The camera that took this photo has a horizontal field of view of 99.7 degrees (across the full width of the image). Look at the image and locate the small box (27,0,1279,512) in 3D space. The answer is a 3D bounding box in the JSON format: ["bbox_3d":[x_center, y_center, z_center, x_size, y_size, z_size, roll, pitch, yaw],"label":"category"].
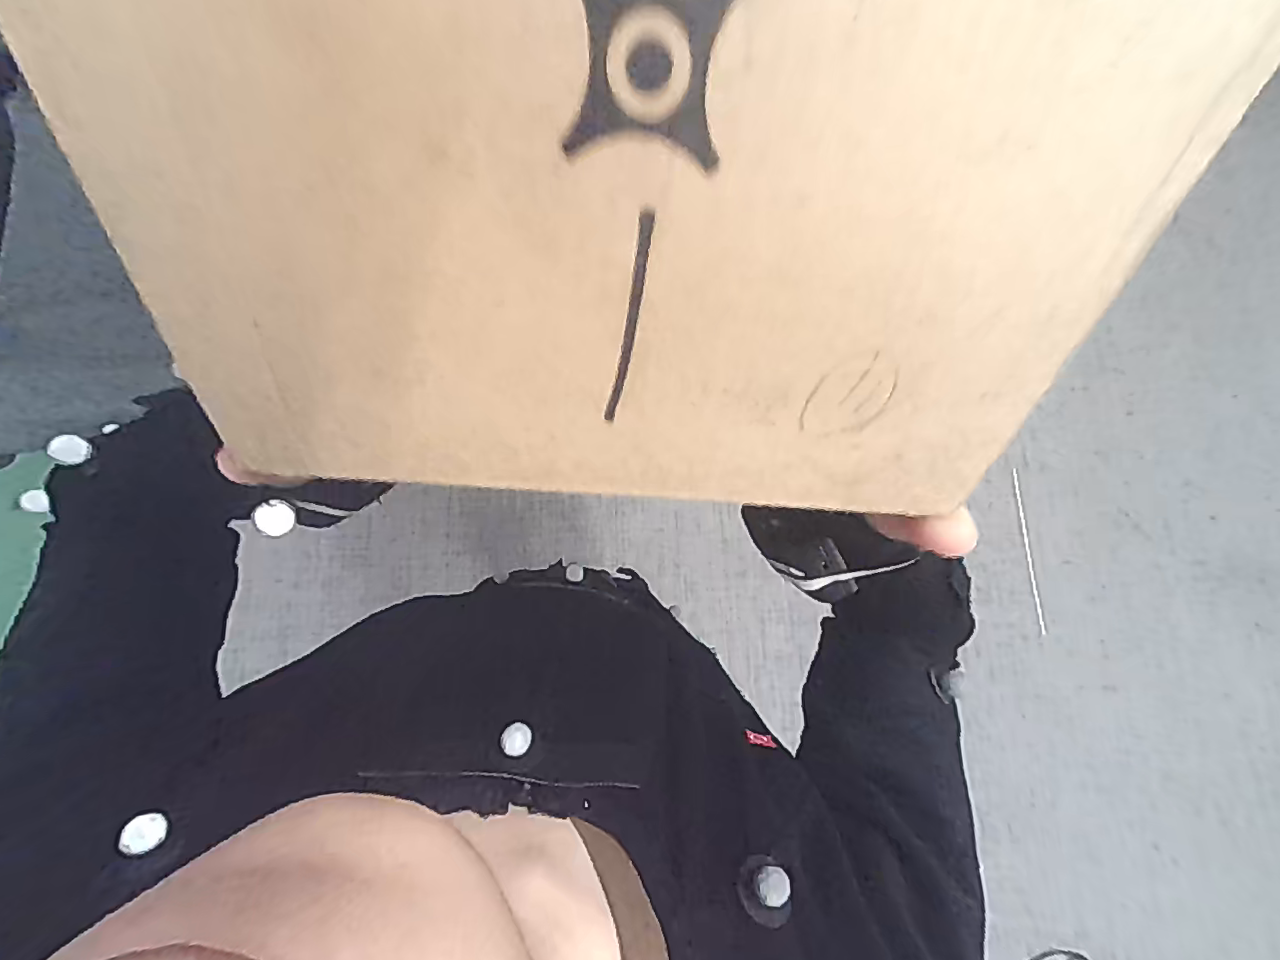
[{"bbox_3d":[0.007,-0.116,0.125,0.168,0.179,0.176,4,42,-5],"label":"small box"}]
